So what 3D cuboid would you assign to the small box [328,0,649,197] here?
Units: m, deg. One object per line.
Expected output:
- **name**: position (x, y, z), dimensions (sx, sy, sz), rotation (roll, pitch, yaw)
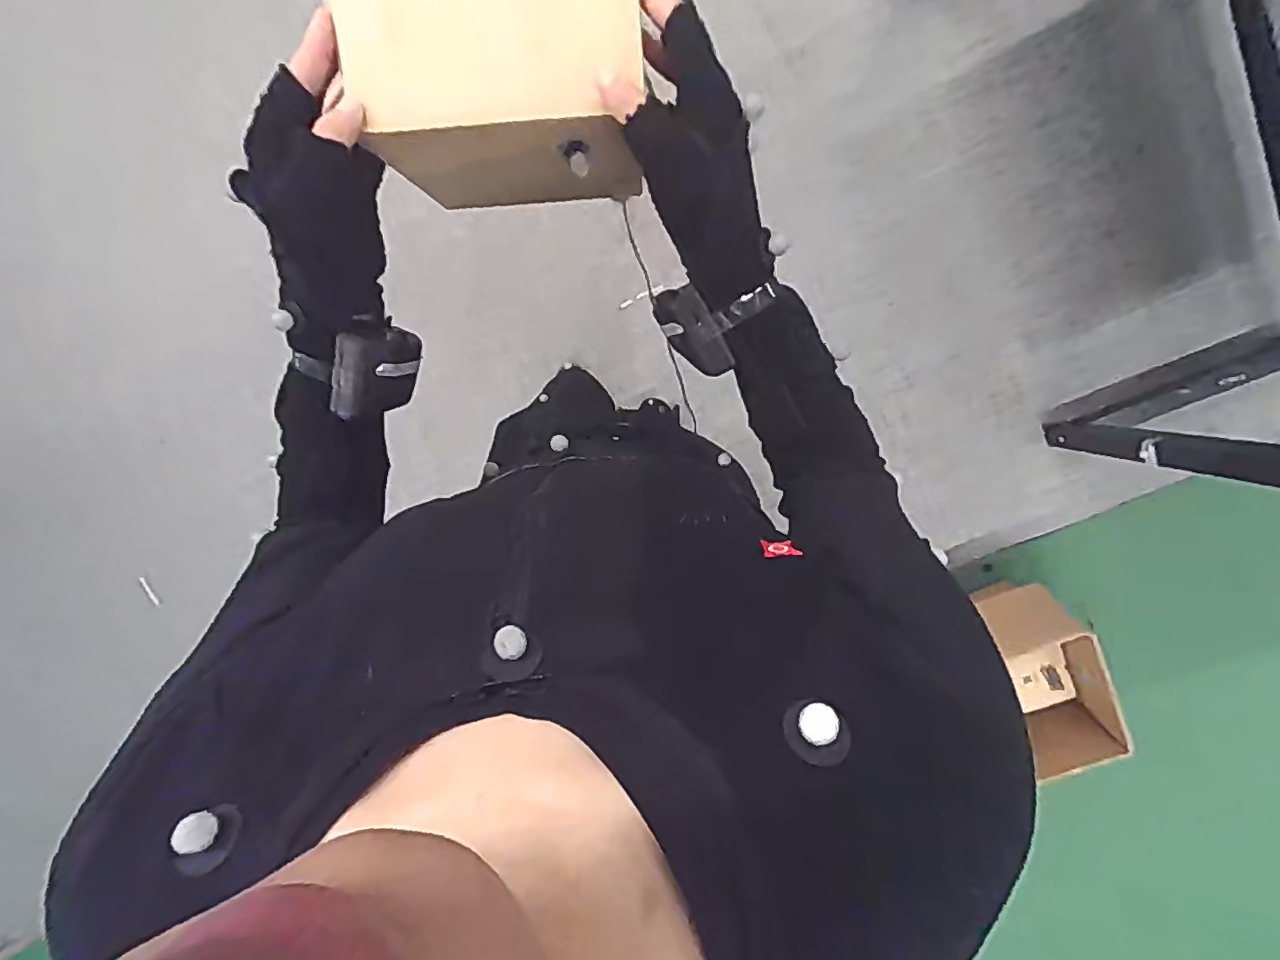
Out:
- **small box**: position (-0.087, -0.308, 0.369), dimensions (0.179, 0.176, 0.168), rotation (-4, 103, 1)
